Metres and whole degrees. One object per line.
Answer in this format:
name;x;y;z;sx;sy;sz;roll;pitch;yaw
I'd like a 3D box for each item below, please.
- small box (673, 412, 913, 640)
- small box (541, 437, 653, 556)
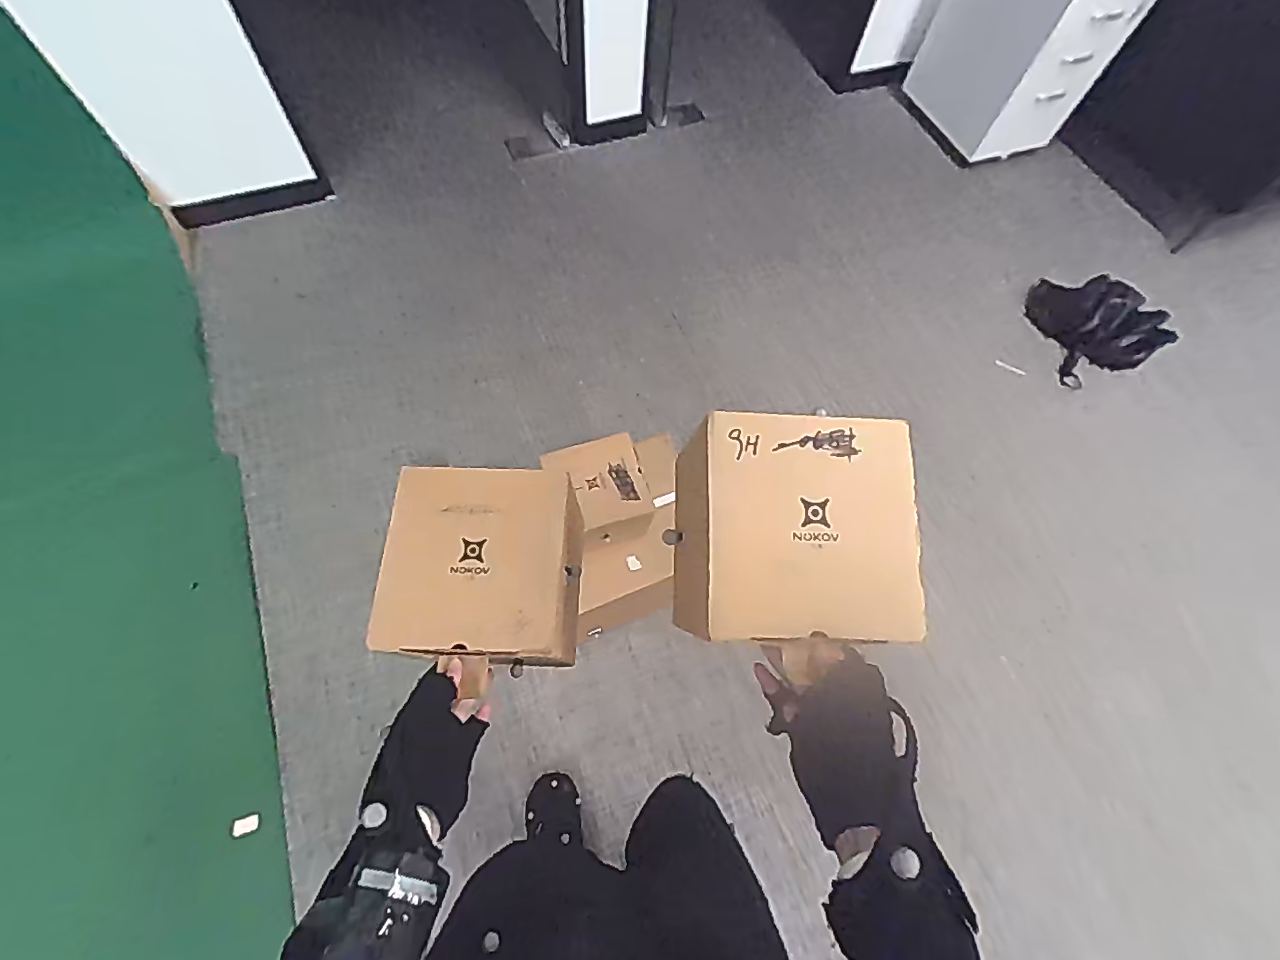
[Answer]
small box;0.125;0.047;0.502;0.168;0.176;0.179;2;79;-5
small box;-0.088;0.037;1.058;0.179;0.176;0.168;-13;70;-11
